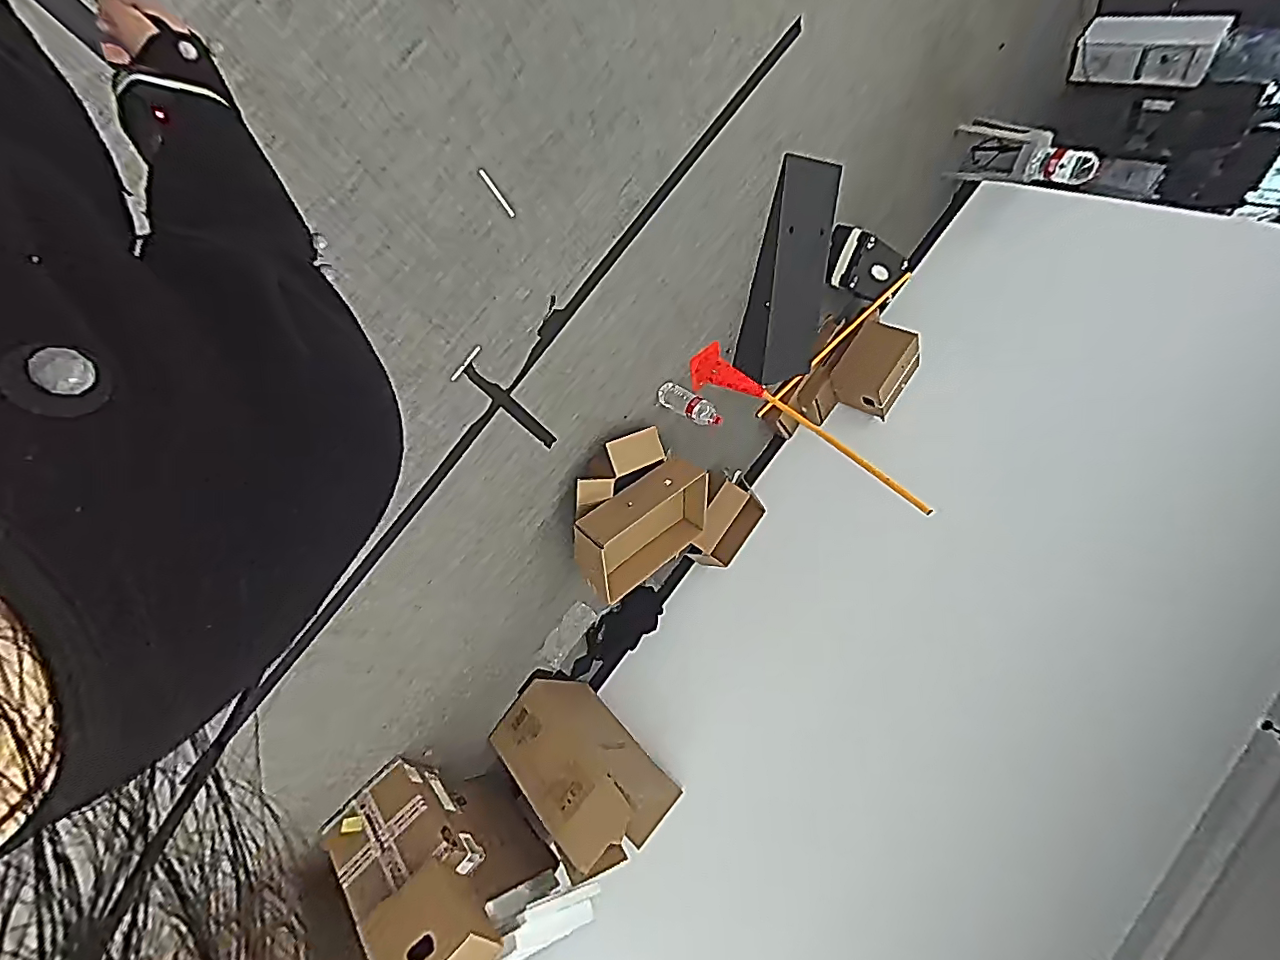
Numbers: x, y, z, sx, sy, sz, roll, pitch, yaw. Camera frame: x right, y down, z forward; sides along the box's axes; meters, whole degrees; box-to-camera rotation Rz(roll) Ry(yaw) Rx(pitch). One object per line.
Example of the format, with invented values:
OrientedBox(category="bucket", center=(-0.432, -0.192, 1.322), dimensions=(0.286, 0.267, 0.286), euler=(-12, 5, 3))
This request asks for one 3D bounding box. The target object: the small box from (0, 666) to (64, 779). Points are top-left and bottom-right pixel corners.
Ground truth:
OrientedBox(category="small box", center=(-1.444, 0.549, 1.221), dimensions=(0.168, 0.176, 0.179), euler=(-13, 129, -44))
